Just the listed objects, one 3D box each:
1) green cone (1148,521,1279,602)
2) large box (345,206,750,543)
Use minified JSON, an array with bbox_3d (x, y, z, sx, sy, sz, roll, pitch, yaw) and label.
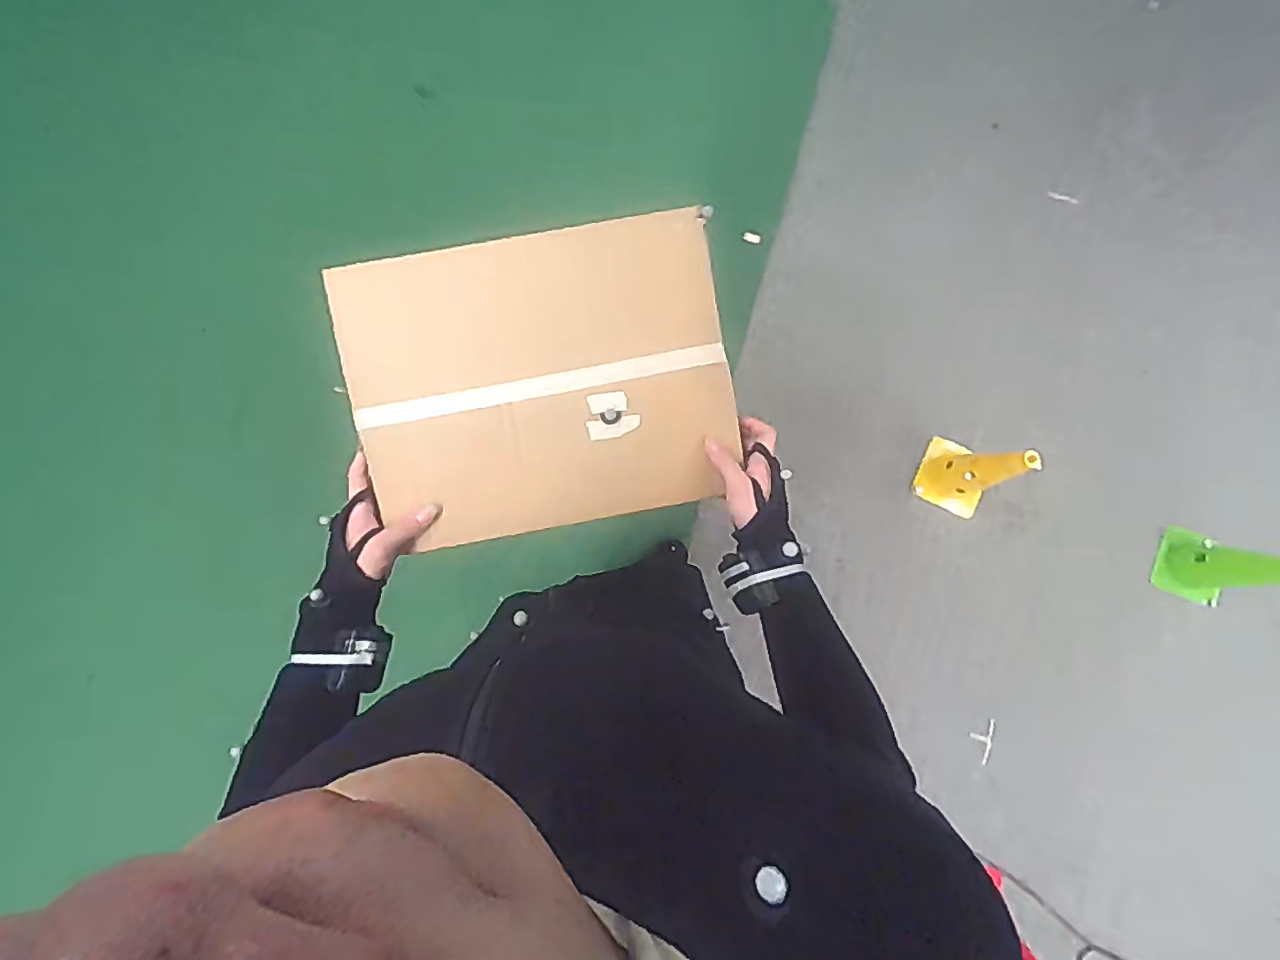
[{"bbox_3d":[1.653,0.223,1.464,0.202,0.368,0.200,22,84,4],"label":"green cone"},{"bbox_3d":[-0.103,-0.127,0.741,0.408,0.320,0.320,-10,97,-2],"label":"large box"}]
